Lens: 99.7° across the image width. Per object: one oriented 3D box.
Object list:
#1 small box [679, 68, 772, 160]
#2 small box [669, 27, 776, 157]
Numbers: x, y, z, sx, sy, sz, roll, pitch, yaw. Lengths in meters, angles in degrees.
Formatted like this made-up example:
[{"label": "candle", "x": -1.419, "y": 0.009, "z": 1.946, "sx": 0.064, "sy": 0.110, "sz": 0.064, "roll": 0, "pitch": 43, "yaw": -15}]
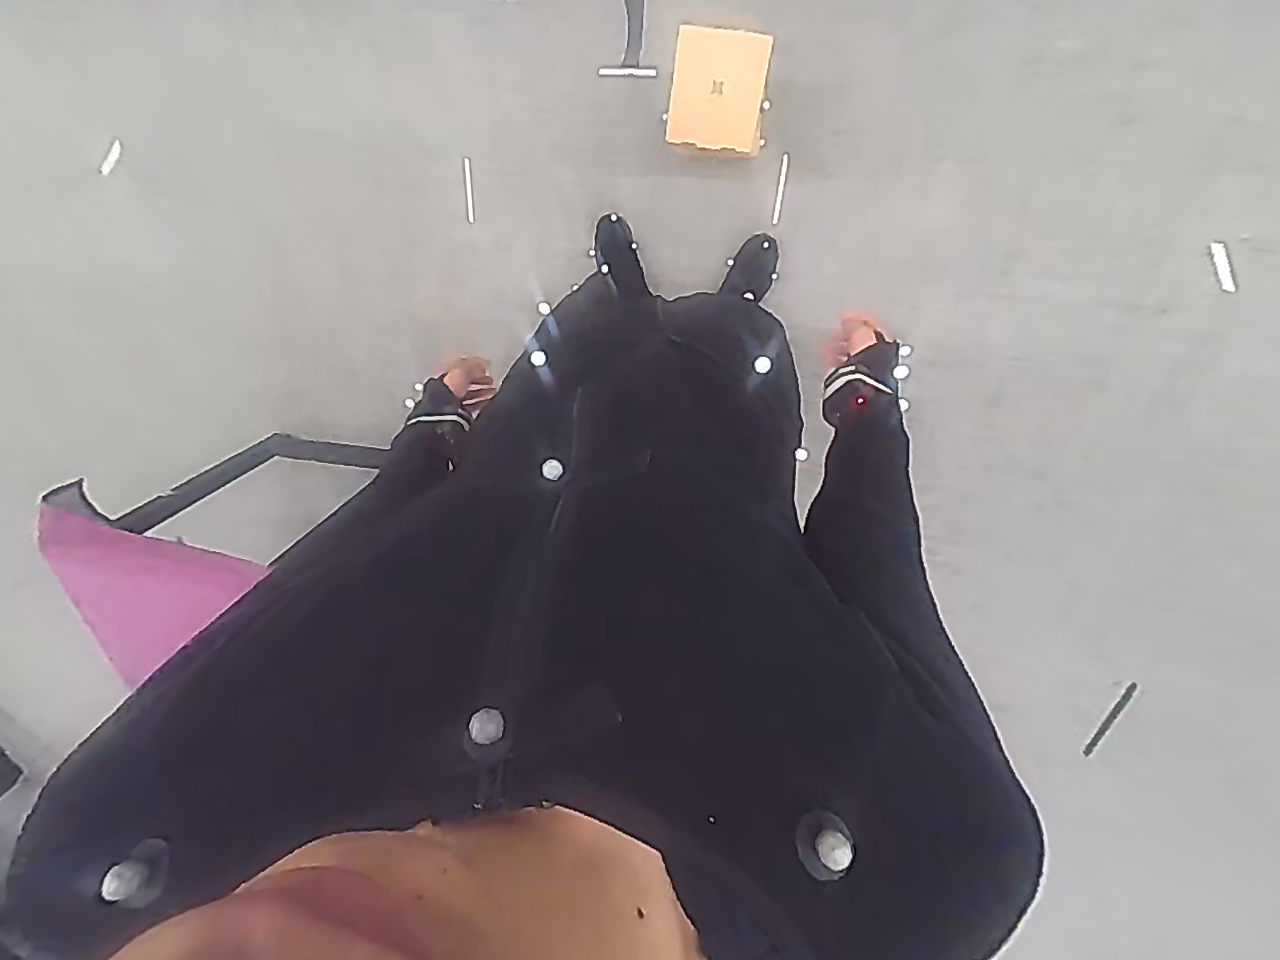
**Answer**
[{"label": "small box", "x": 0.186, "y": -0.802, "z": 1.185, "sx": 0.179, "sy": 0.176, "sz": 0.168, "roll": 7, "pitch": 120, "yaw": 8}, {"label": "small box", "x": 0.155, "y": -0.734, "z": 1.040, "sx": 0.168, "sy": 0.176, "sz": 0.179, "roll": 11, "pitch": 121, "yaw": 5}]
